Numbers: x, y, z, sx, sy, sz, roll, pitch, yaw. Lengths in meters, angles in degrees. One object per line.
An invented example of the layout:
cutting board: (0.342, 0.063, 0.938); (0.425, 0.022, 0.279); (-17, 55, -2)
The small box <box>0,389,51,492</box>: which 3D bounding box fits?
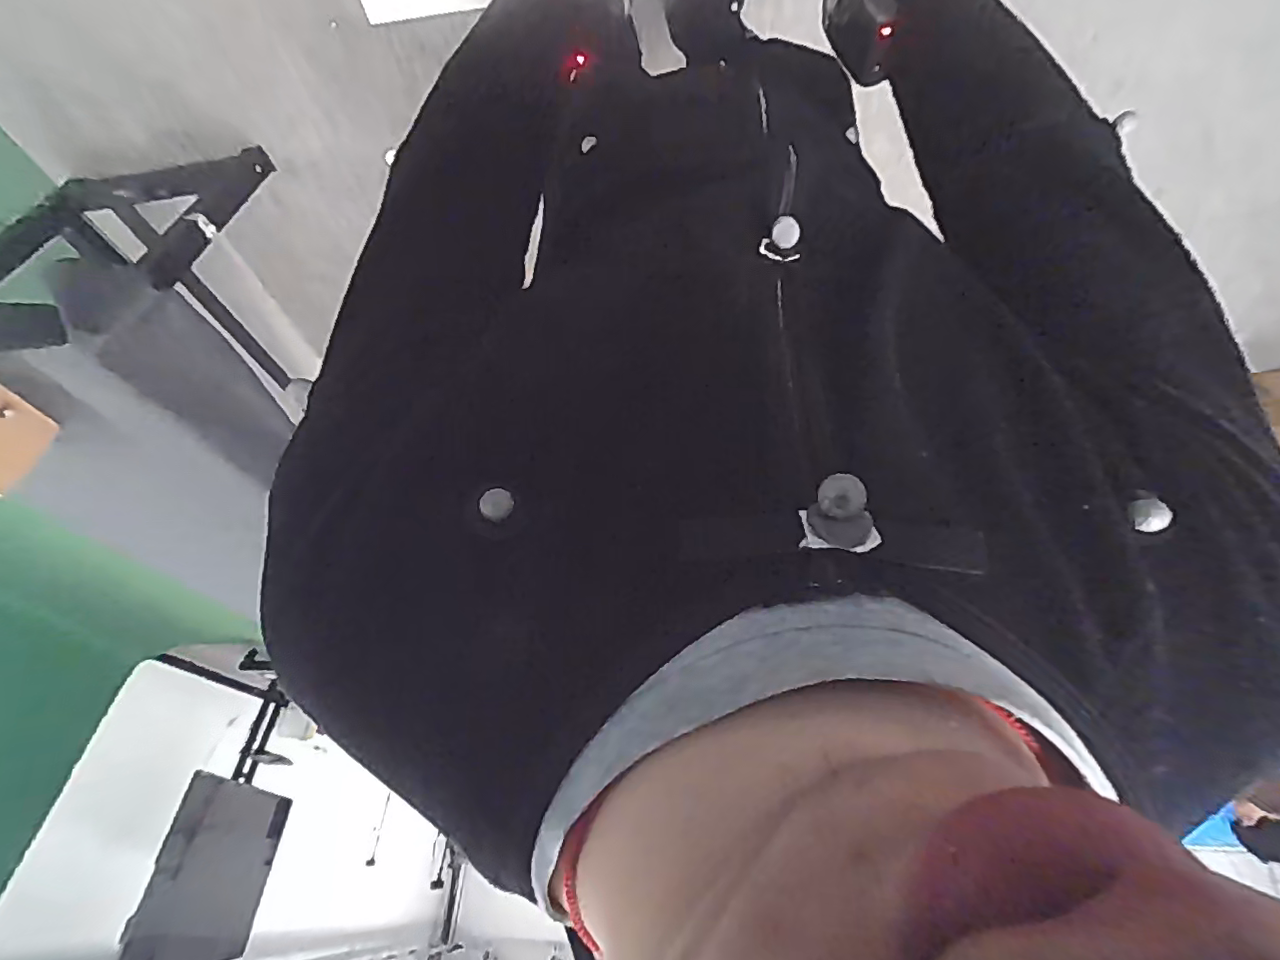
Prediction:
small box: (-1.215, -0.085, 0.933); (0.168, 0.176, 0.179); (-1, 145, 3)
